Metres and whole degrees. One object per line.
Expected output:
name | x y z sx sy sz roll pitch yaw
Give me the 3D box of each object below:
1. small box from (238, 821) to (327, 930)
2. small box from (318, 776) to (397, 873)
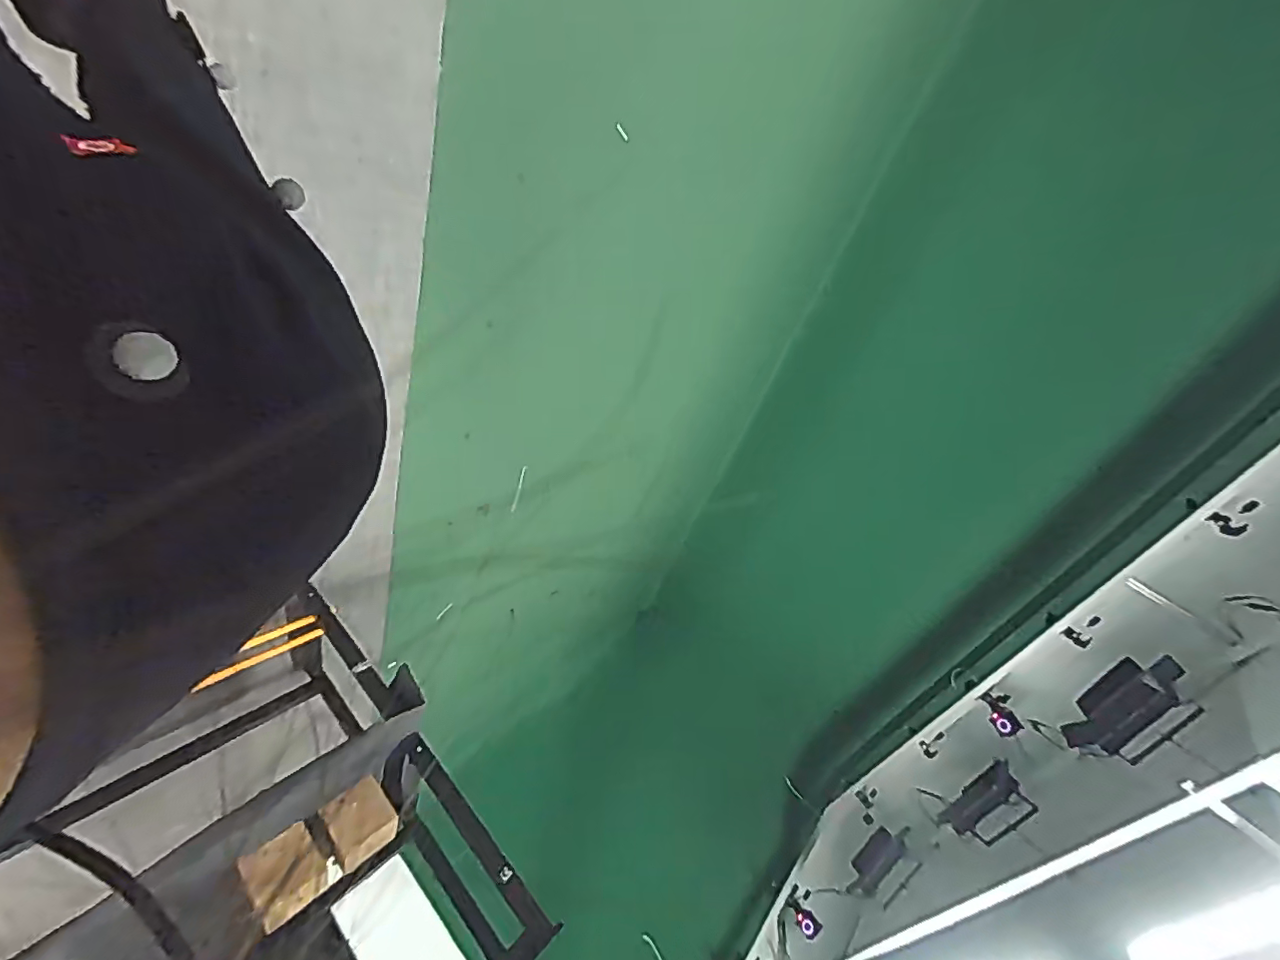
small box | -1.030 1.135 1.561 0.168 0.176 0.179 -24 146 -46
small box | -0.899 1.085 1.714 0.168 0.176 0.179 -25 147 -46
